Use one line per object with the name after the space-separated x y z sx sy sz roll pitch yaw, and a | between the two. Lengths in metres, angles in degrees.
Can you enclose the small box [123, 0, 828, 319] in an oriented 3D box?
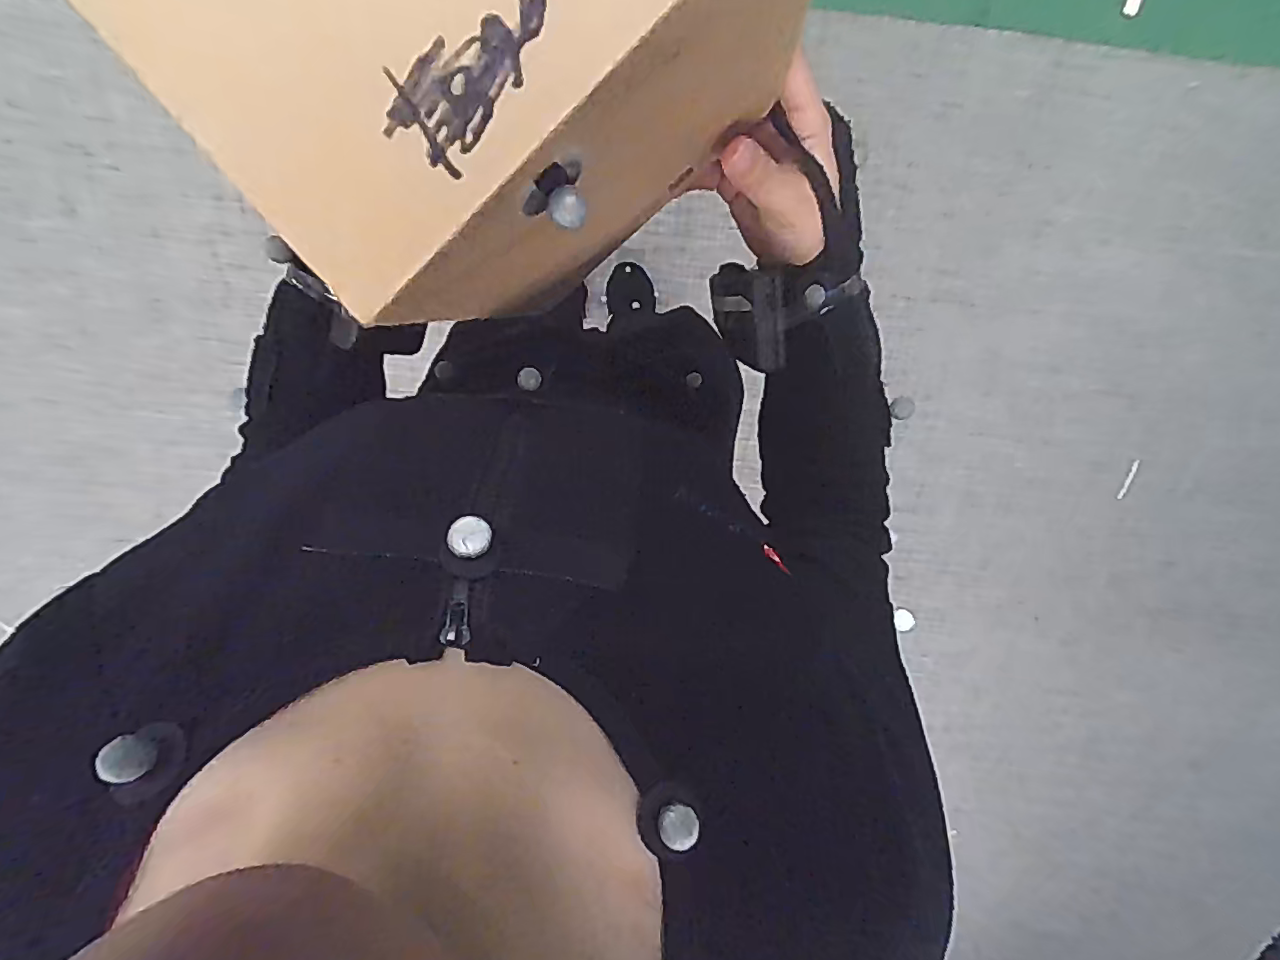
-0.052 -0.180 0.205 0.168 0.176 0.179 -36 100 17 | small box
